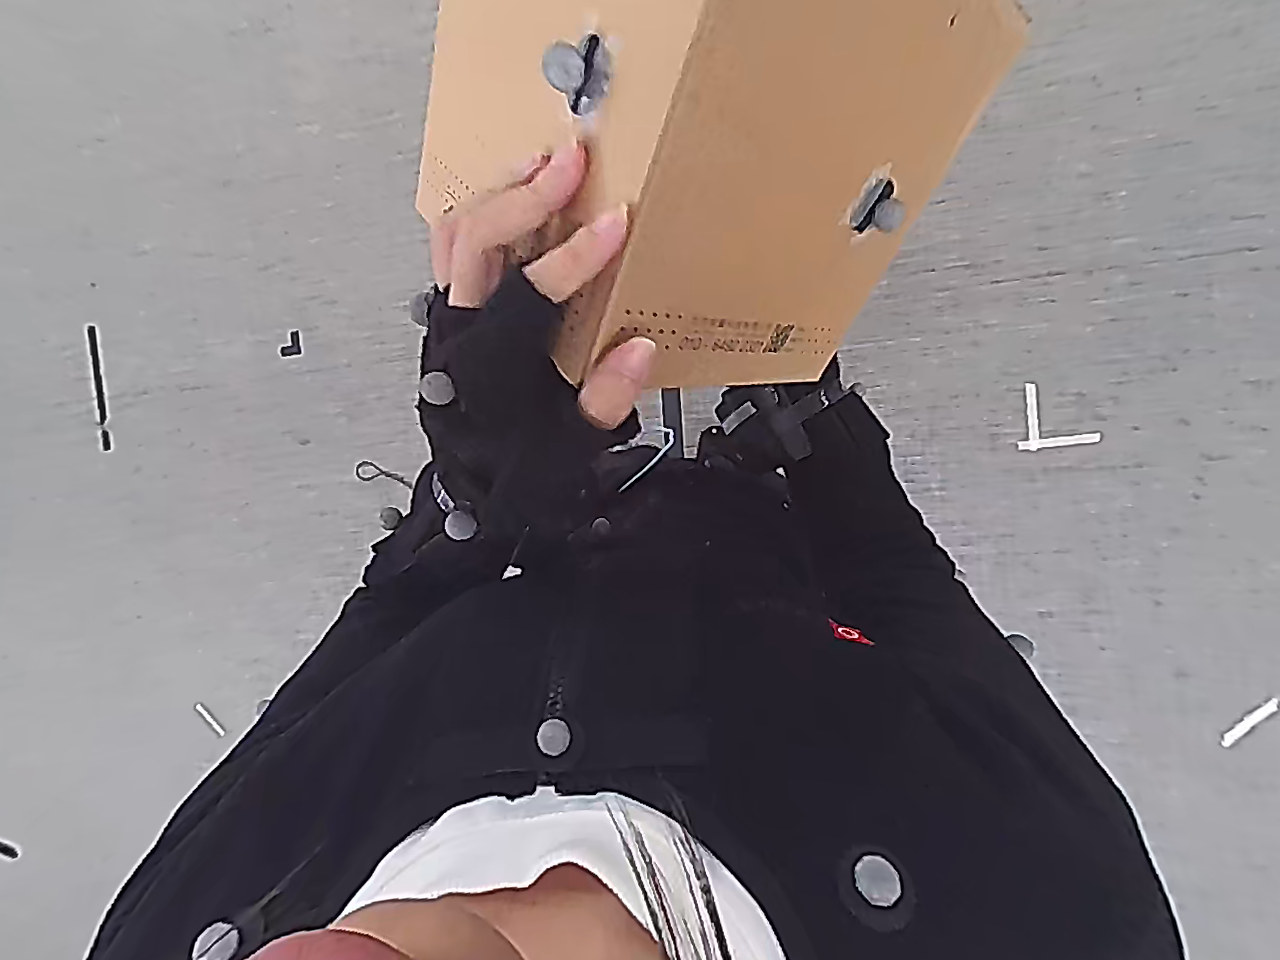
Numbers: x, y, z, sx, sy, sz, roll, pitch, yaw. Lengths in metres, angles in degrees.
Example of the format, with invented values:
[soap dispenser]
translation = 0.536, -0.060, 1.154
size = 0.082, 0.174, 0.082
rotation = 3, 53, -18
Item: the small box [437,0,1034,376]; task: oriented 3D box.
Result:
[small box]
translation = 0.020, -0.161, 0.254
size = 0.179, 0.168, 0.176
rotation = 50, 132, 32
